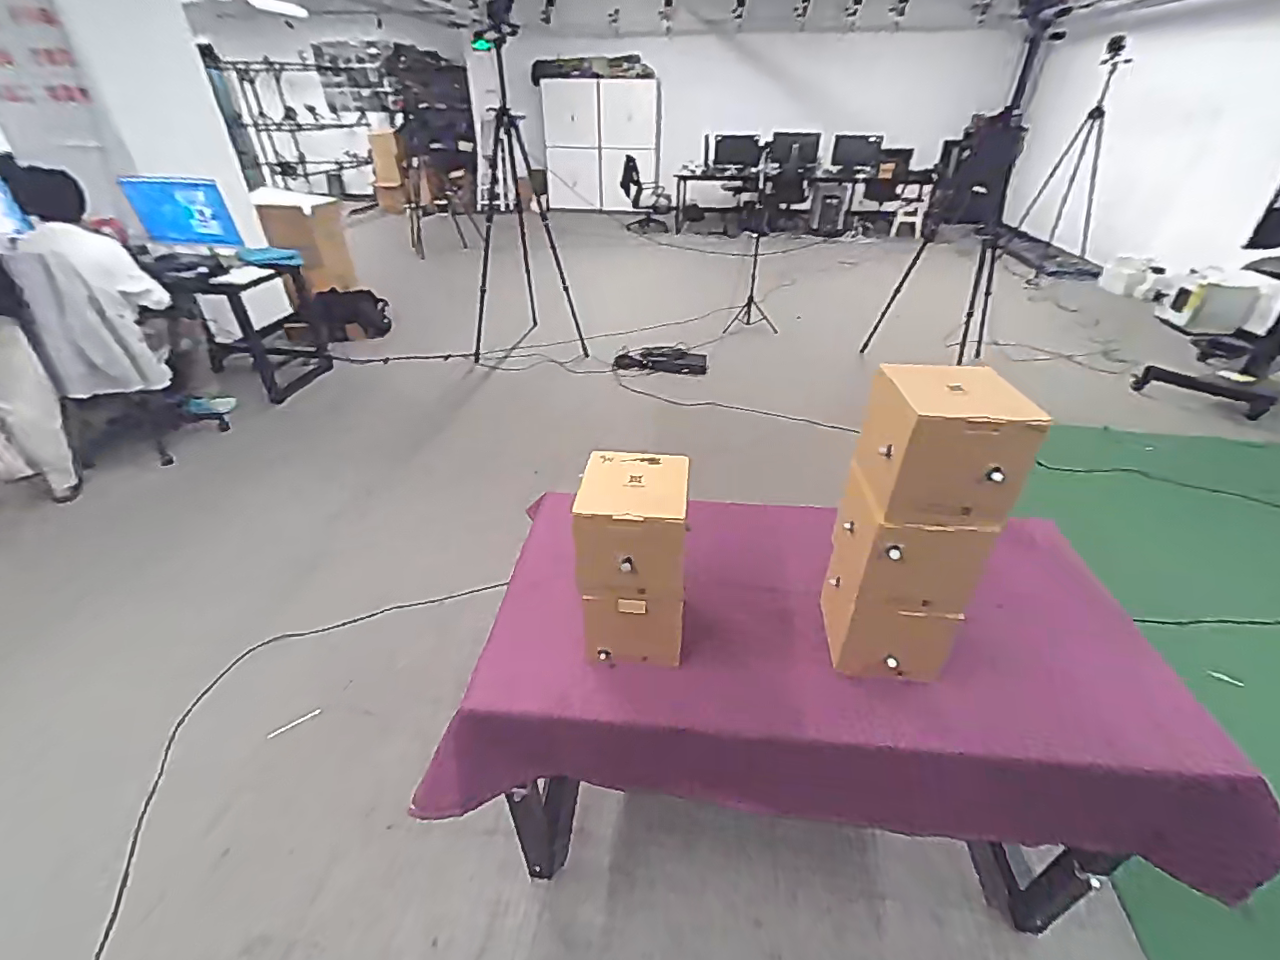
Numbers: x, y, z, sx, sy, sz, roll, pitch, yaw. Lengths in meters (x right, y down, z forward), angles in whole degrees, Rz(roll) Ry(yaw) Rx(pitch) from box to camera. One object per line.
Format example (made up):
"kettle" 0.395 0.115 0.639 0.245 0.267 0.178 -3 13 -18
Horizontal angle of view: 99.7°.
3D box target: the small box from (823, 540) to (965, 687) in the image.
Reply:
"small box" 0.426 0.229 0.944 0.168 0.176 0.179 4 35 7

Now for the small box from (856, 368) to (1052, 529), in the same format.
"small box" 0.424 -0.047 0.767 0.168 0.176 0.179 3 34 4

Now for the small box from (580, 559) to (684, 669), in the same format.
"small box" -0.007 0.214 0.968 0.168 0.176 0.179 3 34 4

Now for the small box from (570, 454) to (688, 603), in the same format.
"small box" -0.010 0.078 0.877 0.168 0.176 0.179 4 35 5
